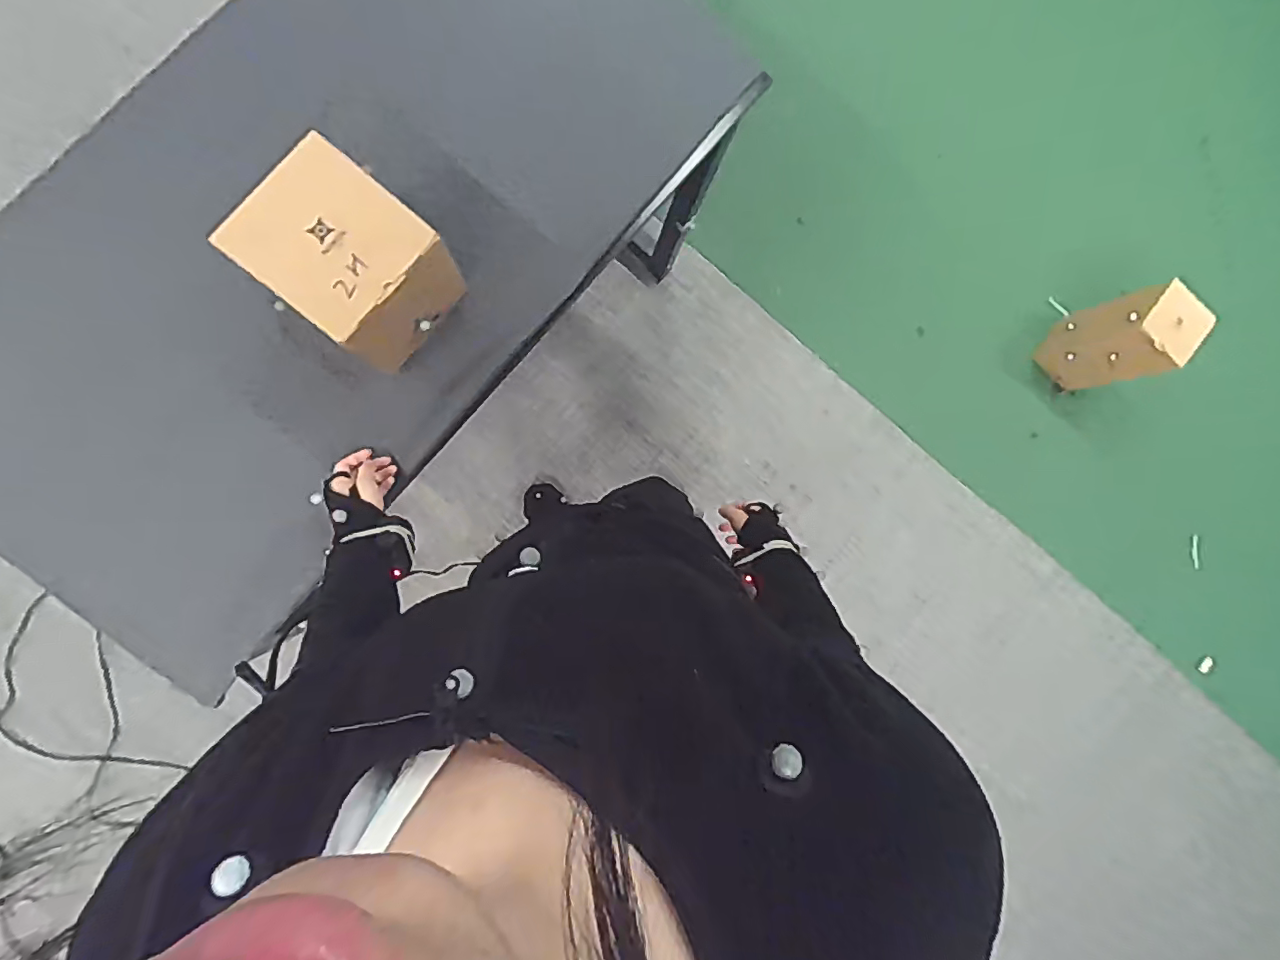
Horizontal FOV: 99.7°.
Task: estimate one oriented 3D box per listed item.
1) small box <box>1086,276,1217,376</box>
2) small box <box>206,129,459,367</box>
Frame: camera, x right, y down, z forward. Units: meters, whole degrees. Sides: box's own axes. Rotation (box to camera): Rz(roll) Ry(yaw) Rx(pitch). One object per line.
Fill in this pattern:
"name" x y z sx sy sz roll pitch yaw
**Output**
"small box" 1.375 -0.409 1.465 0.168 0.176 0.179 39 84 -5
"small box" -0.353 -0.263 0.662 0.179 0.176 0.168 39 85 -5
